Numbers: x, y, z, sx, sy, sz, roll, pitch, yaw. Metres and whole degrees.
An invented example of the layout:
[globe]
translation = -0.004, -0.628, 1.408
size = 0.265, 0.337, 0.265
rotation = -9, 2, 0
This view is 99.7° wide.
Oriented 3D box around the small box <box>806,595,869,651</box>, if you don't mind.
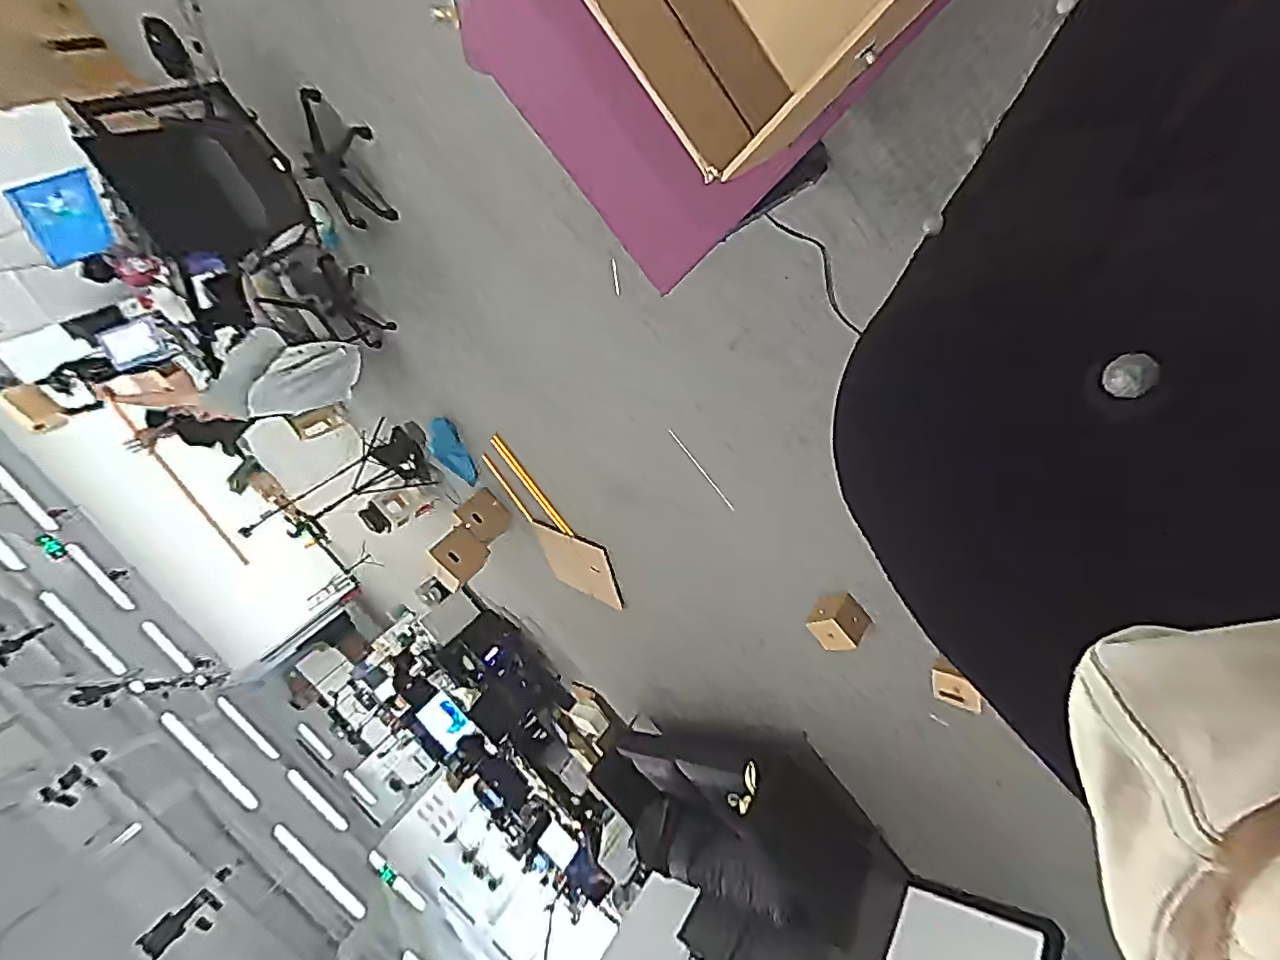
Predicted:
[small box]
translation = 0.871, 0.623, 2.362
size = 0.168, 0.176, 0.179
rotation = 50, 146, -3
